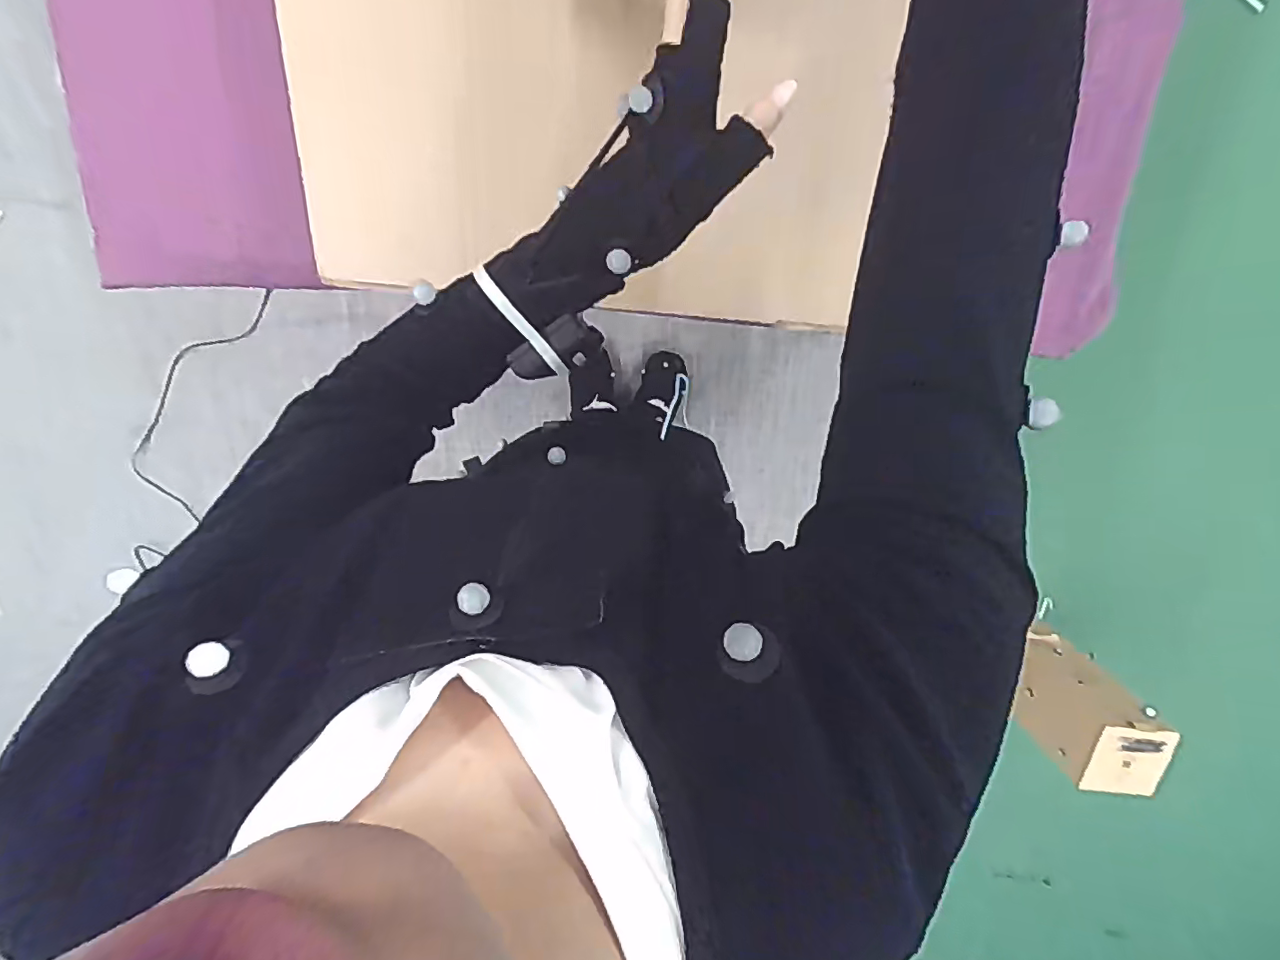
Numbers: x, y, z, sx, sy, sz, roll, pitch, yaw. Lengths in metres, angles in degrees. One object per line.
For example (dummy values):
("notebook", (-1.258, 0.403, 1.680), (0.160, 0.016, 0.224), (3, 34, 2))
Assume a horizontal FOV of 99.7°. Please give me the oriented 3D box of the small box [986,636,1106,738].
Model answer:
("small box", (1.046, 0.537, 1.414), (0.168, 0.176, 0.179), (6, 107, -1))
